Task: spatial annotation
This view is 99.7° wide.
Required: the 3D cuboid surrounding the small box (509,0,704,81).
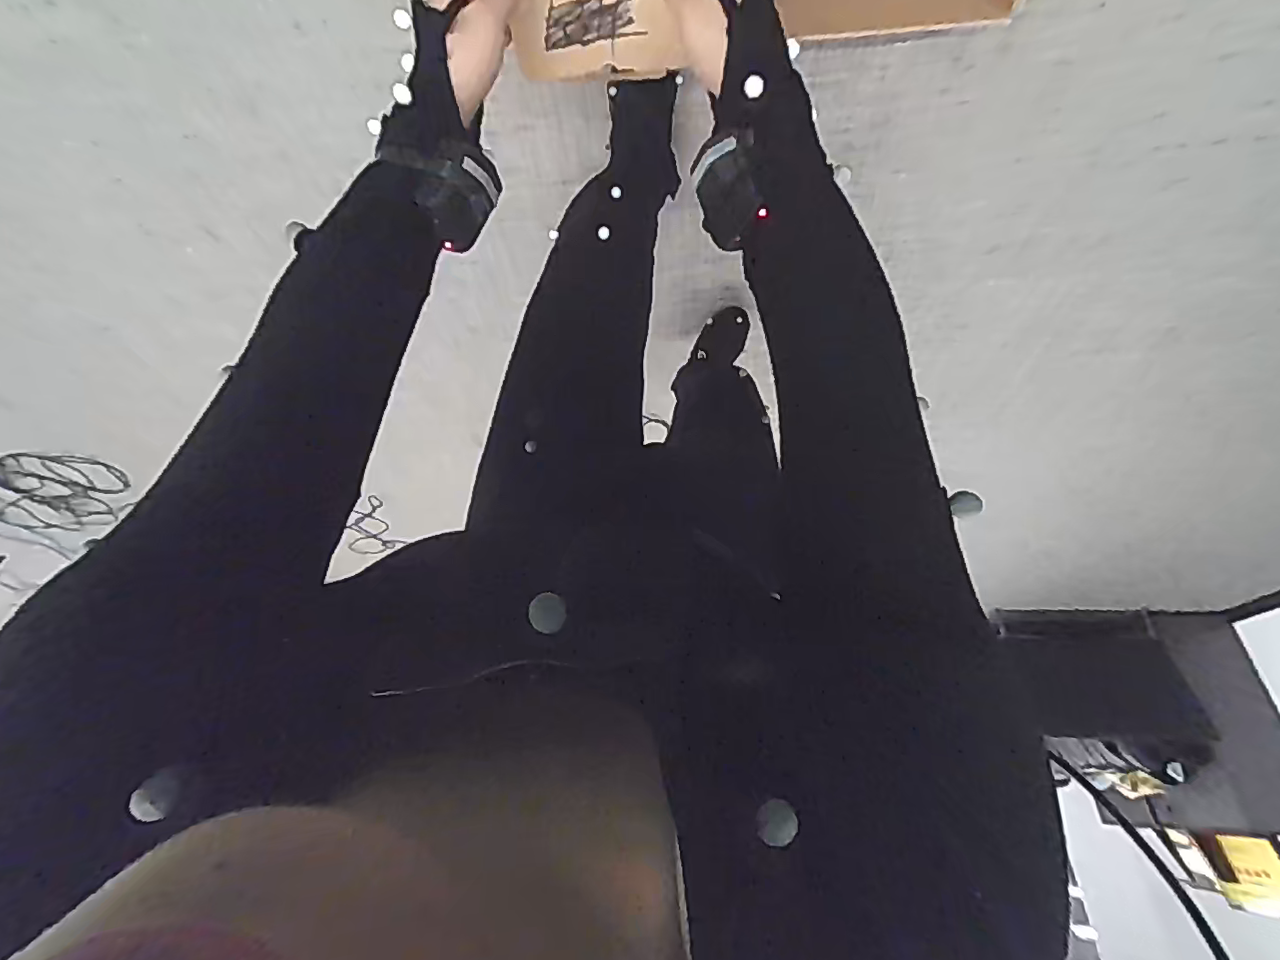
[{"bbox_3d":[-0.028,-0.482,0.459,0.168,0.176,0.179,-2,150,4],"label":"small box"}]
